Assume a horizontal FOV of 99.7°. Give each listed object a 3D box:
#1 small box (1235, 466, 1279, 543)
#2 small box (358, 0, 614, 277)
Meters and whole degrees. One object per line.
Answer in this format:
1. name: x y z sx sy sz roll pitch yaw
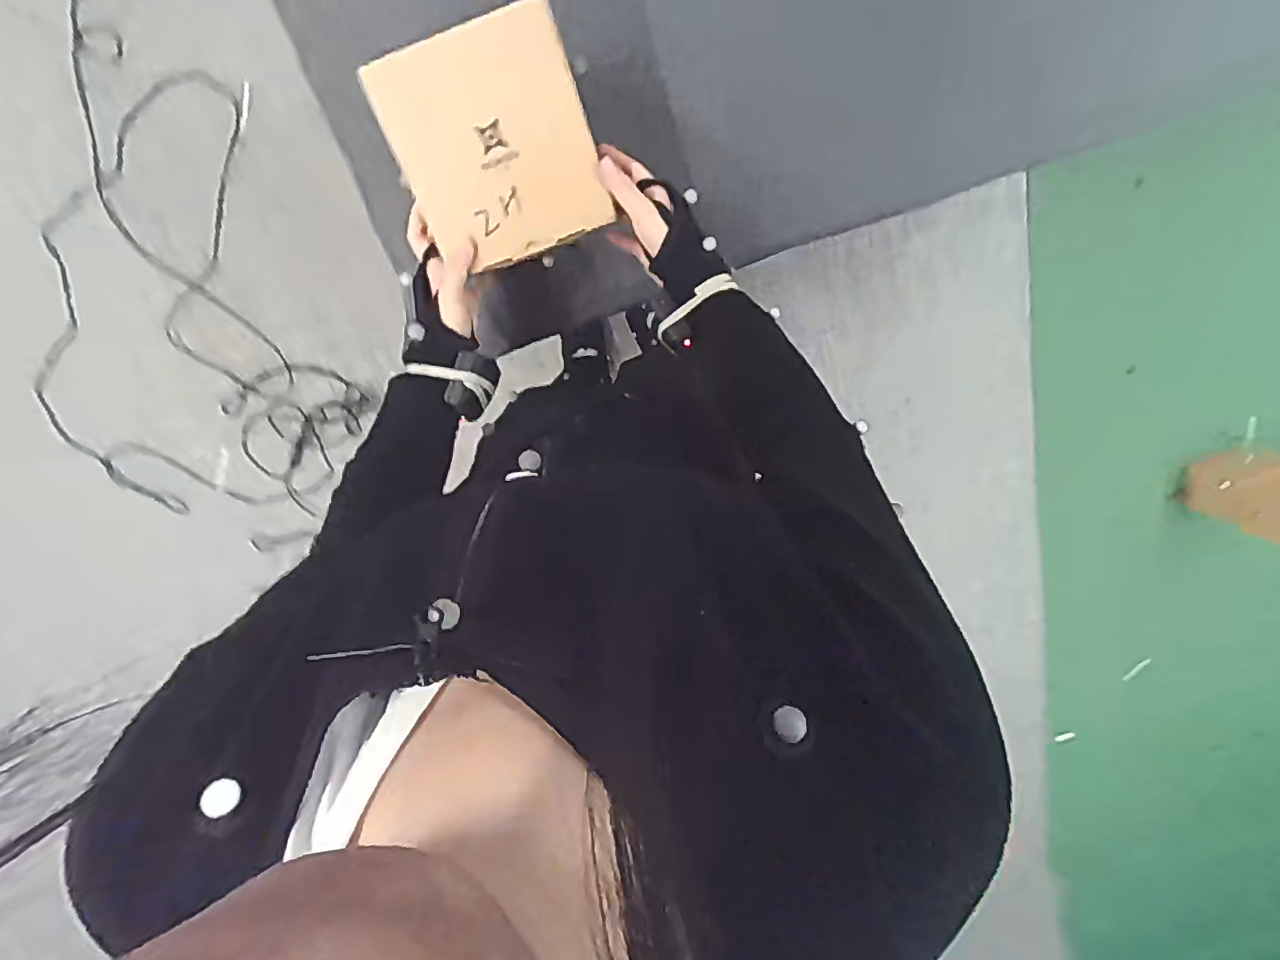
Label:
1. small box: 1.812 0.063 1.479 0.179 0.176 0.168 -23 113 4
2. small box: -0.133 -0.315 0.537 0.168 0.176 0.179 -19 112 4
